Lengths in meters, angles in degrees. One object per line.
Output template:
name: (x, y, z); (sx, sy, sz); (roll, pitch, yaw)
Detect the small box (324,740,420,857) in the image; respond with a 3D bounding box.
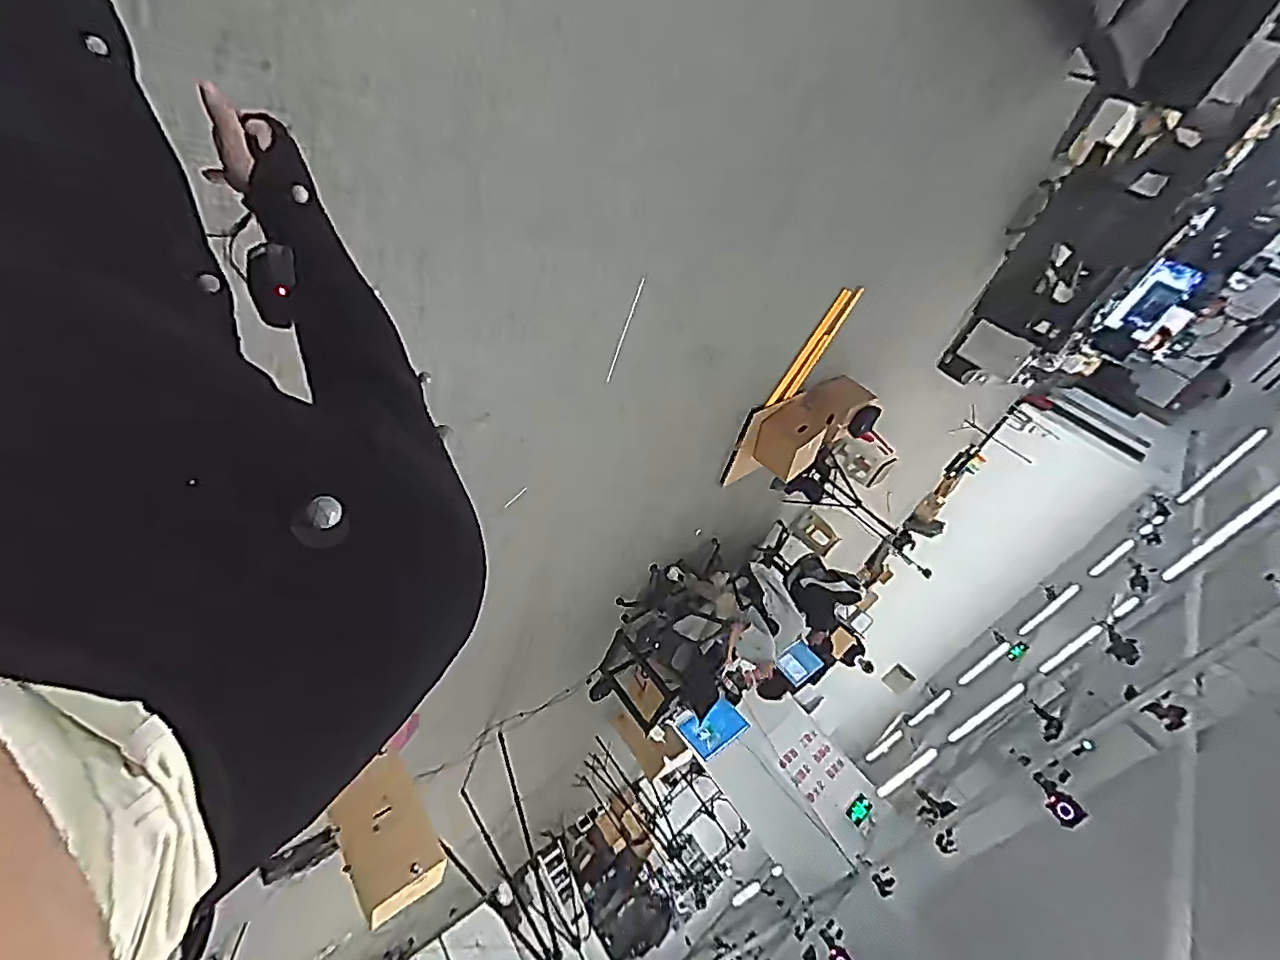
small box: (-0.670, 0.782, 1.343); (0.168, 0.176, 0.179); (-15, 142, -42)

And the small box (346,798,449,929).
small box: (-0.573, 0.891, 1.269); (0.168, 0.176, 0.179); (-16, 142, -41)
